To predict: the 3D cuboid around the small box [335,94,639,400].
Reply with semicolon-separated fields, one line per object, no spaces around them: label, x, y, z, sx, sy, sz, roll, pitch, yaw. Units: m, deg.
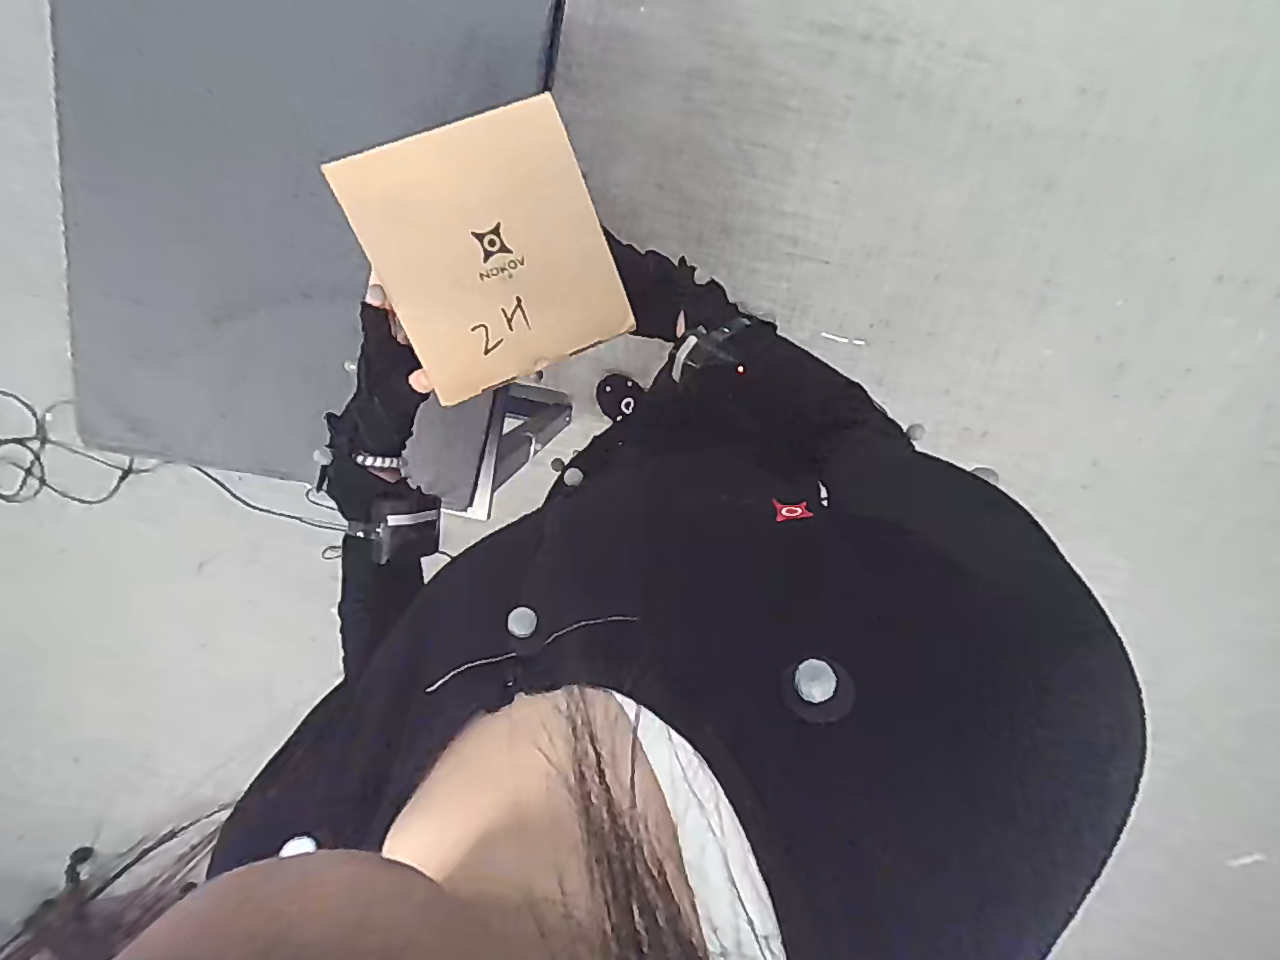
small box;-0.123;-0.182;0.466;0.168;0.176;0.179;-24;108;-10
